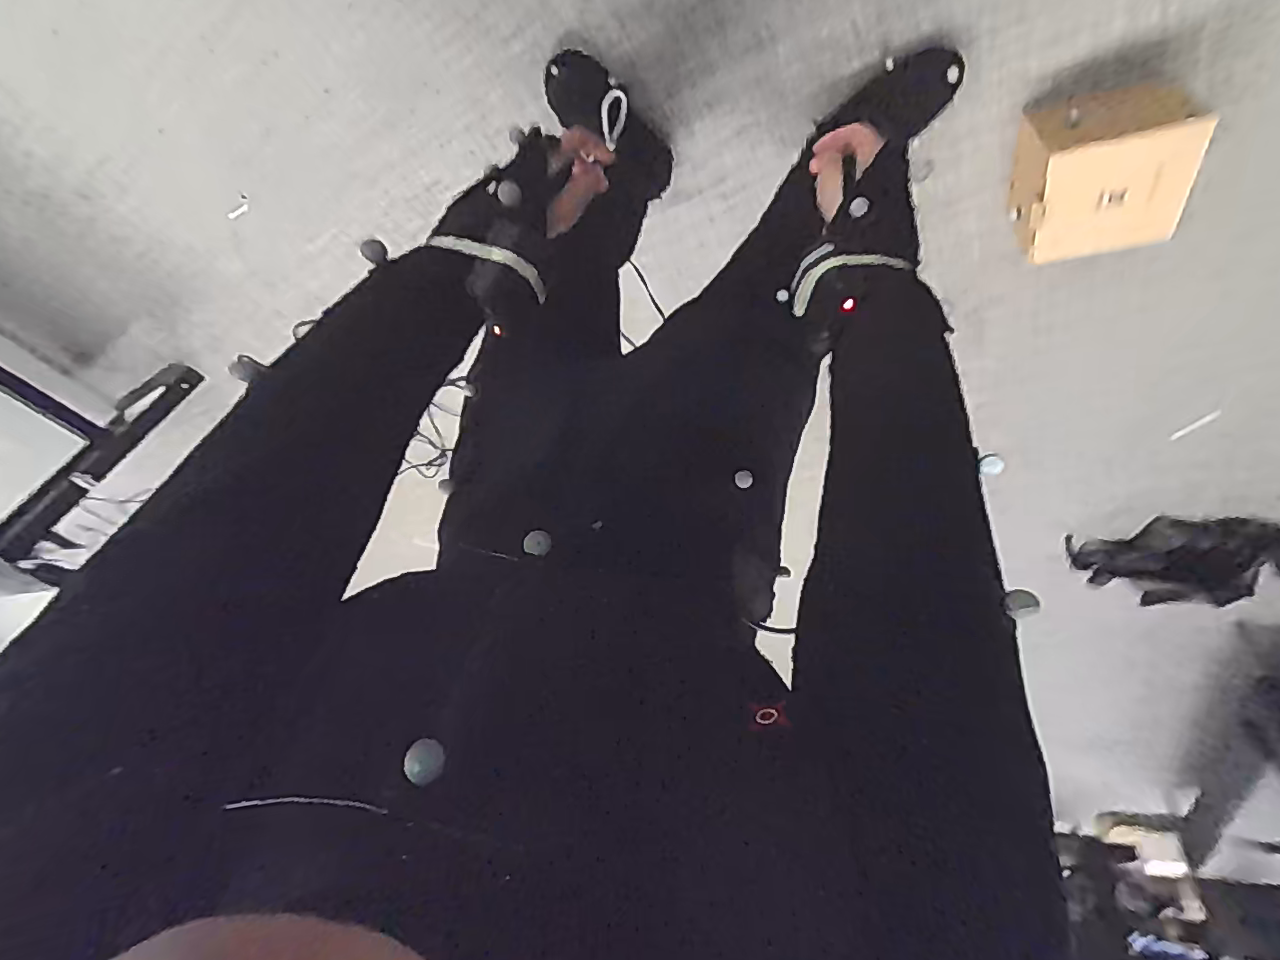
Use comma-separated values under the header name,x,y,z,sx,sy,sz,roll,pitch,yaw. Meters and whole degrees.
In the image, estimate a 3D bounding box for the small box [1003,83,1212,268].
name,x,y,z,sx,sy,sz,roll,pitch,yaw
small box,0.666,-0.448,0.803,0.179,0.176,0.168,-5,140,20
